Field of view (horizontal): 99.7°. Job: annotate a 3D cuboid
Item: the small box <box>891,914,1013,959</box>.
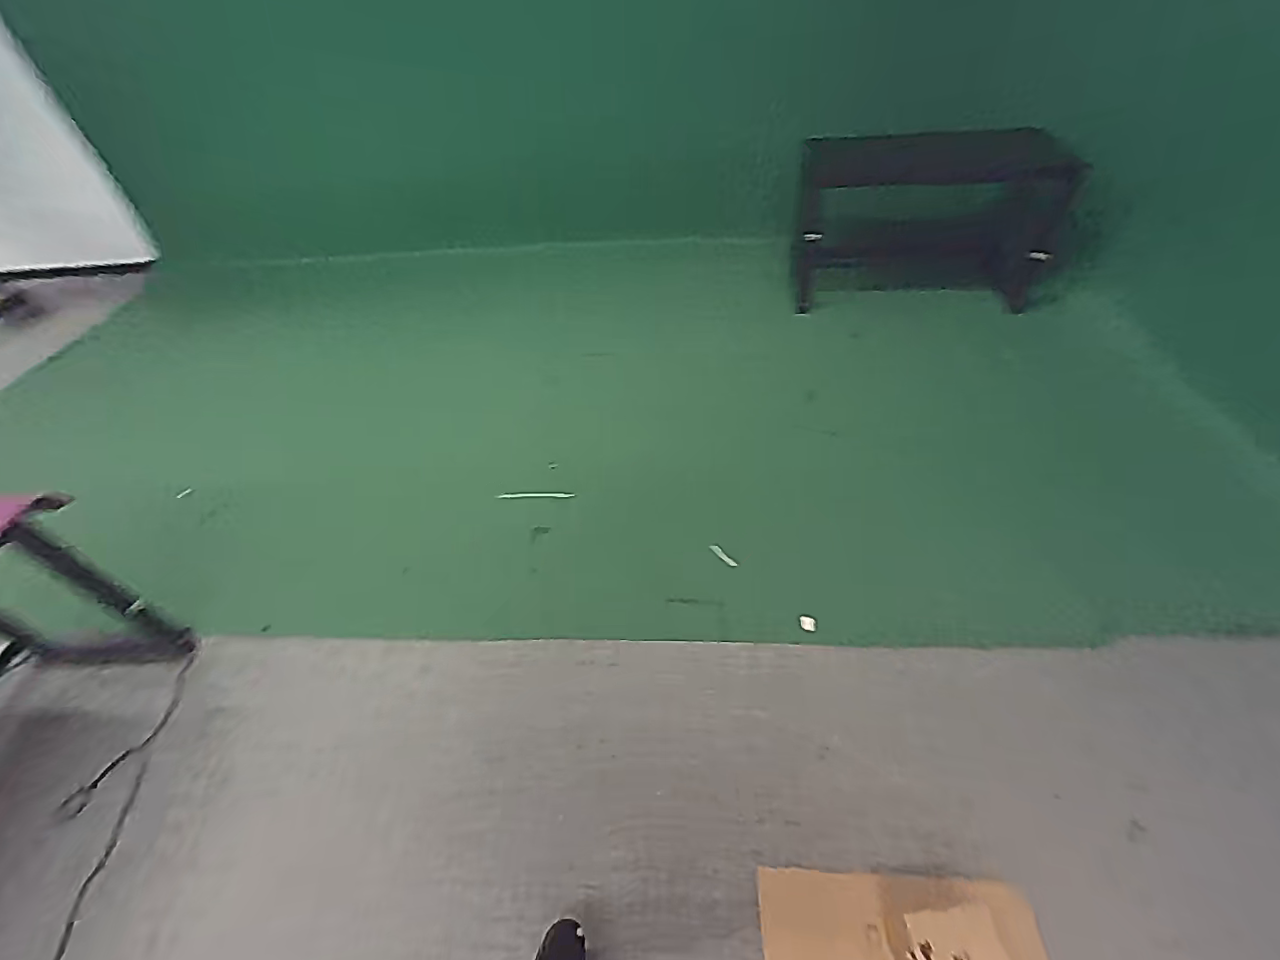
[{"bbox_3d":[0.642,0.997,1.096,0.179,0.176,0.168,-6,46,0],"label":"small box"}]
